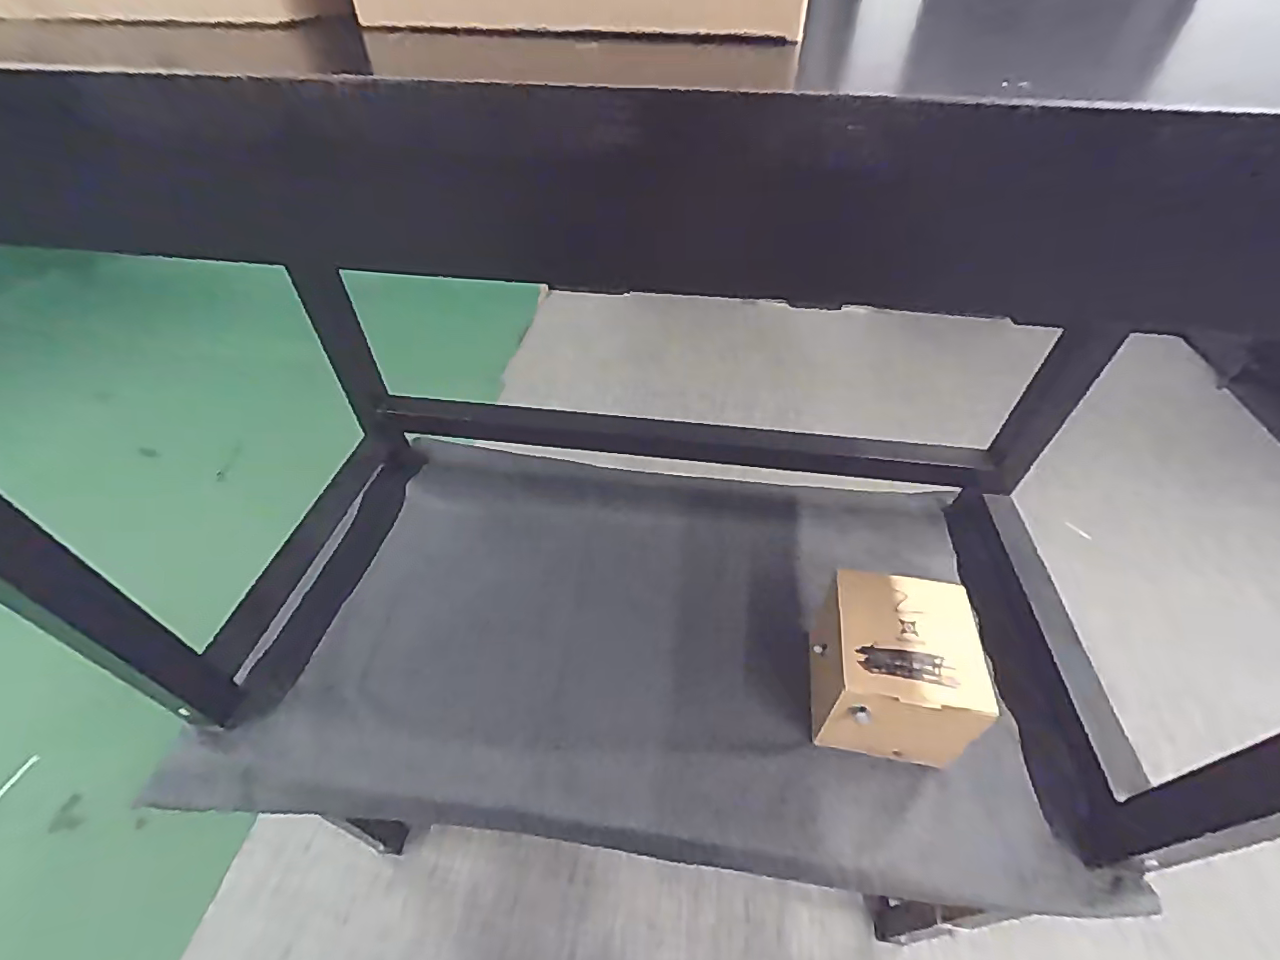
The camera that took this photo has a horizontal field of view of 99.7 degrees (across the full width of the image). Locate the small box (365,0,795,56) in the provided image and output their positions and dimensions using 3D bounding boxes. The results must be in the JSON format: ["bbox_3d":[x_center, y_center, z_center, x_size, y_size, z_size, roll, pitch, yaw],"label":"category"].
[{"bbox_3d":[-0.015,-0.280,0.208,0.179,0.176,0.168,9,47,8],"label":"small box"}]
